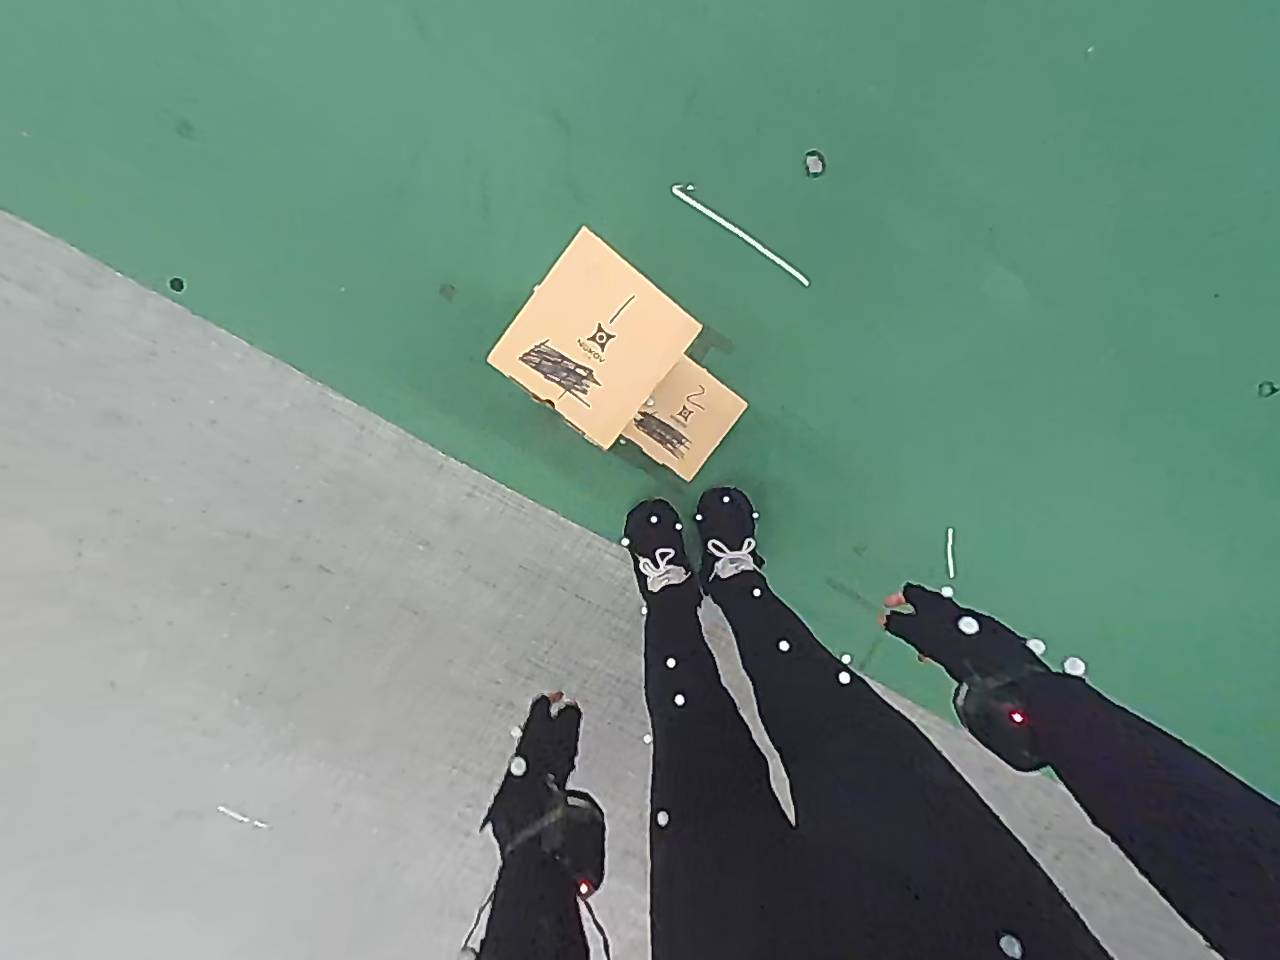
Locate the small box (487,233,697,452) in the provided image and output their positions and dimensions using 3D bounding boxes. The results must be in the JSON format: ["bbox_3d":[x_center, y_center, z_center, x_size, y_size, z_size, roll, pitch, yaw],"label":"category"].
[{"bbox_3d":[-0.055,-0.160,0.664,0.168,0.176,0.179,37,97,-11],"label":"small box"}]
